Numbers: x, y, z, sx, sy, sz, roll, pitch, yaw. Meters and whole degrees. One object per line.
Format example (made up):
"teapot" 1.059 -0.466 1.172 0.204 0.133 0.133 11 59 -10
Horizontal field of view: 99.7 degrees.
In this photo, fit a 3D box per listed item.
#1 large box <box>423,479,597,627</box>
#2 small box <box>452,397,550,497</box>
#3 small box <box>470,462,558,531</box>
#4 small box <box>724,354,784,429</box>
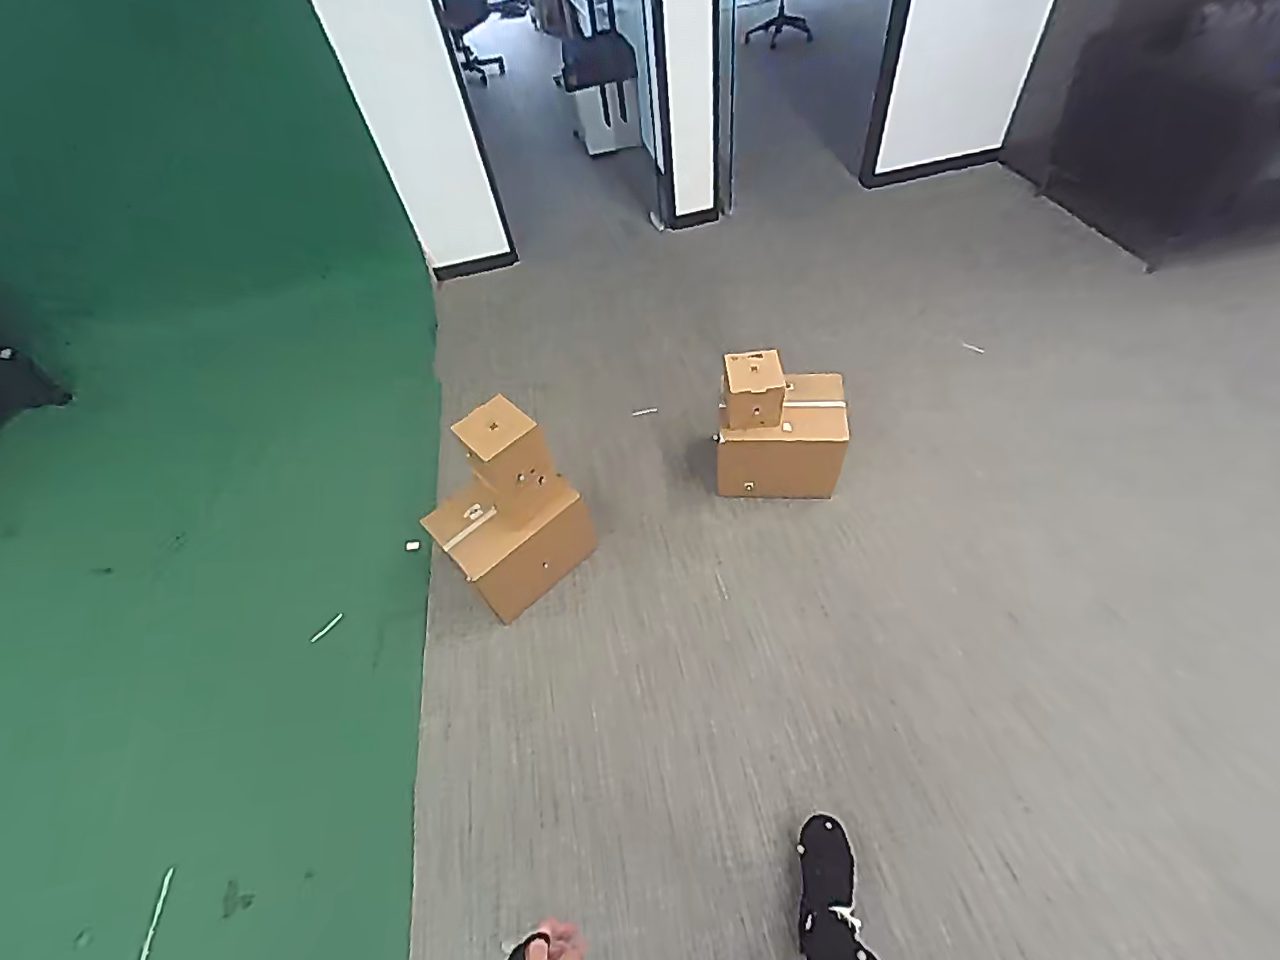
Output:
"large box" -0.405 0.193 1.770 0.408 0.320 0.320 -41 56 -21
"small box" -0.371 -0.085 1.460 0.168 0.176 0.179 -39 58 -21
"small box" -0.360 0.013 1.590 0.179 0.176 0.168 -41 57 -22
"small box" 0.357 -0.274 1.717 0.168 0.176 0.179 -4 53 4
